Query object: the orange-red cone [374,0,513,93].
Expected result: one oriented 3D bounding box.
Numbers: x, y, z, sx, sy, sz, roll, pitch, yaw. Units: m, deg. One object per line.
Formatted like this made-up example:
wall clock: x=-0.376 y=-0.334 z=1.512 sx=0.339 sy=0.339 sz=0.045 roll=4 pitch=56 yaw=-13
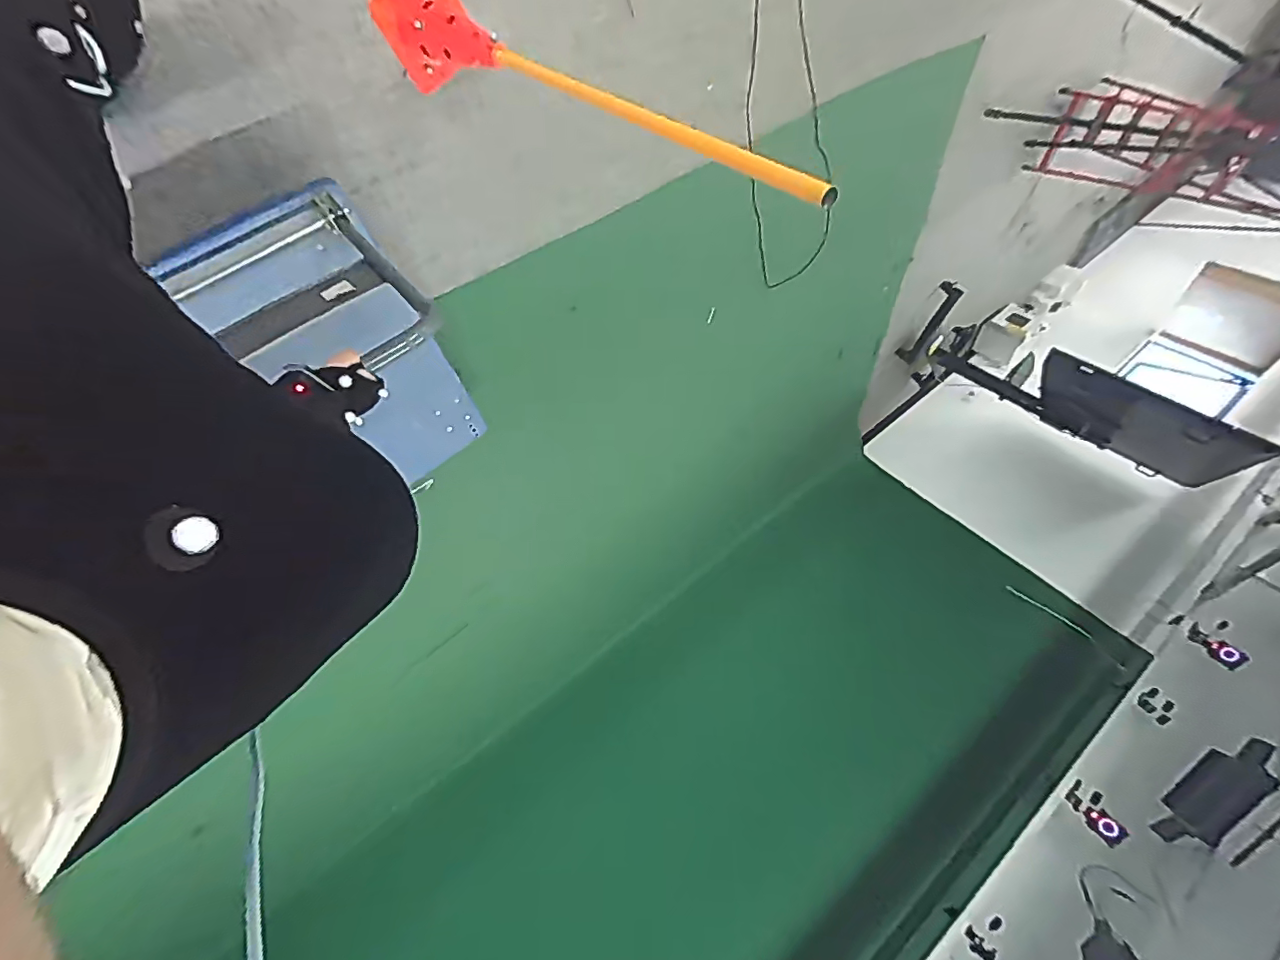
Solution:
orange-red cone: x=-0.377 y=-0.946 z=1.165 sx=0.199 sy=0.360 sz=0.198 roll=-44 pitch=149 yaw=-6
